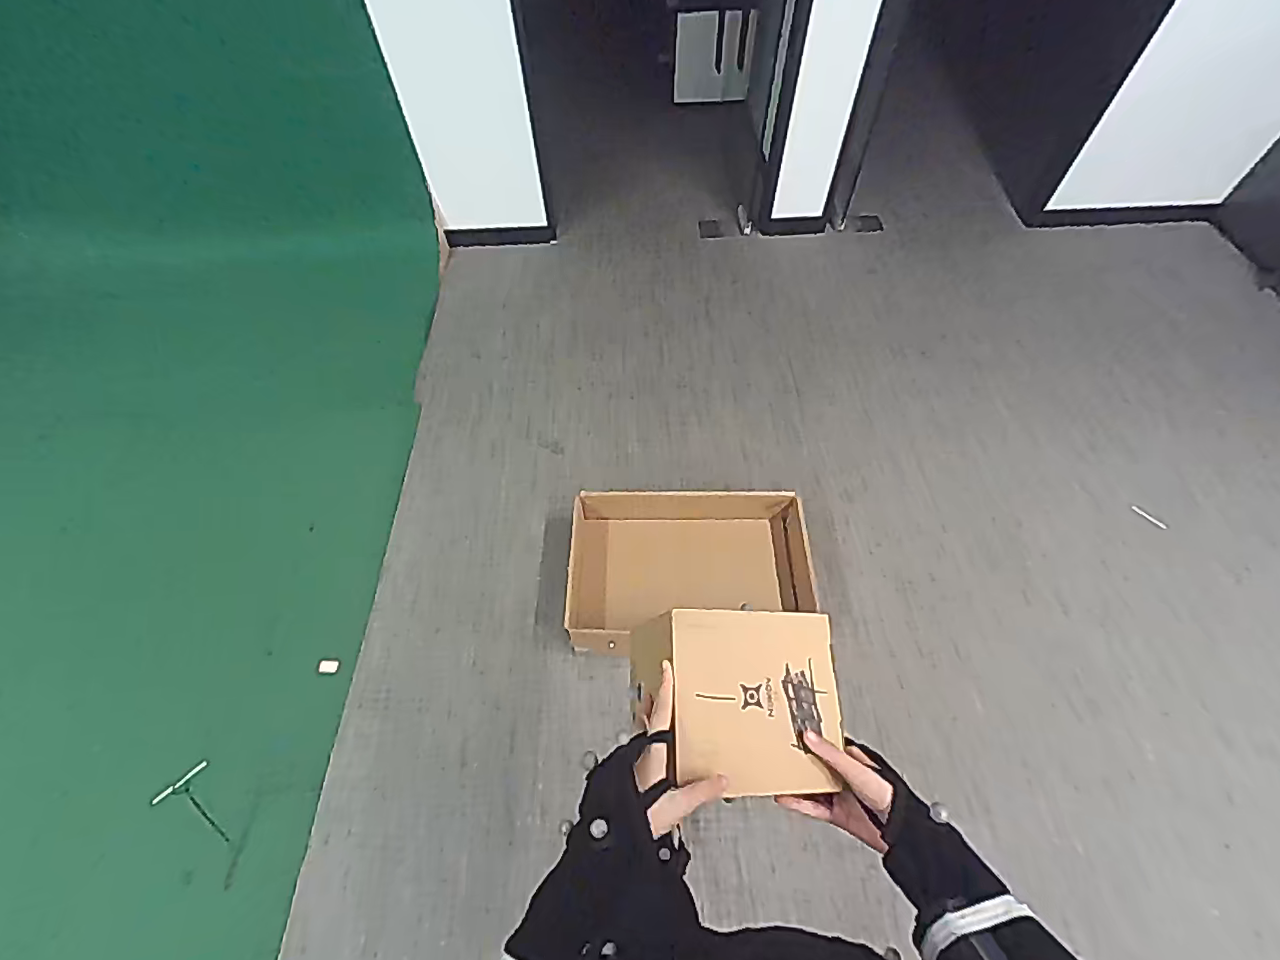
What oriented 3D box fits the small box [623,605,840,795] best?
[{"bbox_3d":[0.087,0.236,0.588,0.179,0.176,0.168,5,67,-12],"label":"small box"}]
